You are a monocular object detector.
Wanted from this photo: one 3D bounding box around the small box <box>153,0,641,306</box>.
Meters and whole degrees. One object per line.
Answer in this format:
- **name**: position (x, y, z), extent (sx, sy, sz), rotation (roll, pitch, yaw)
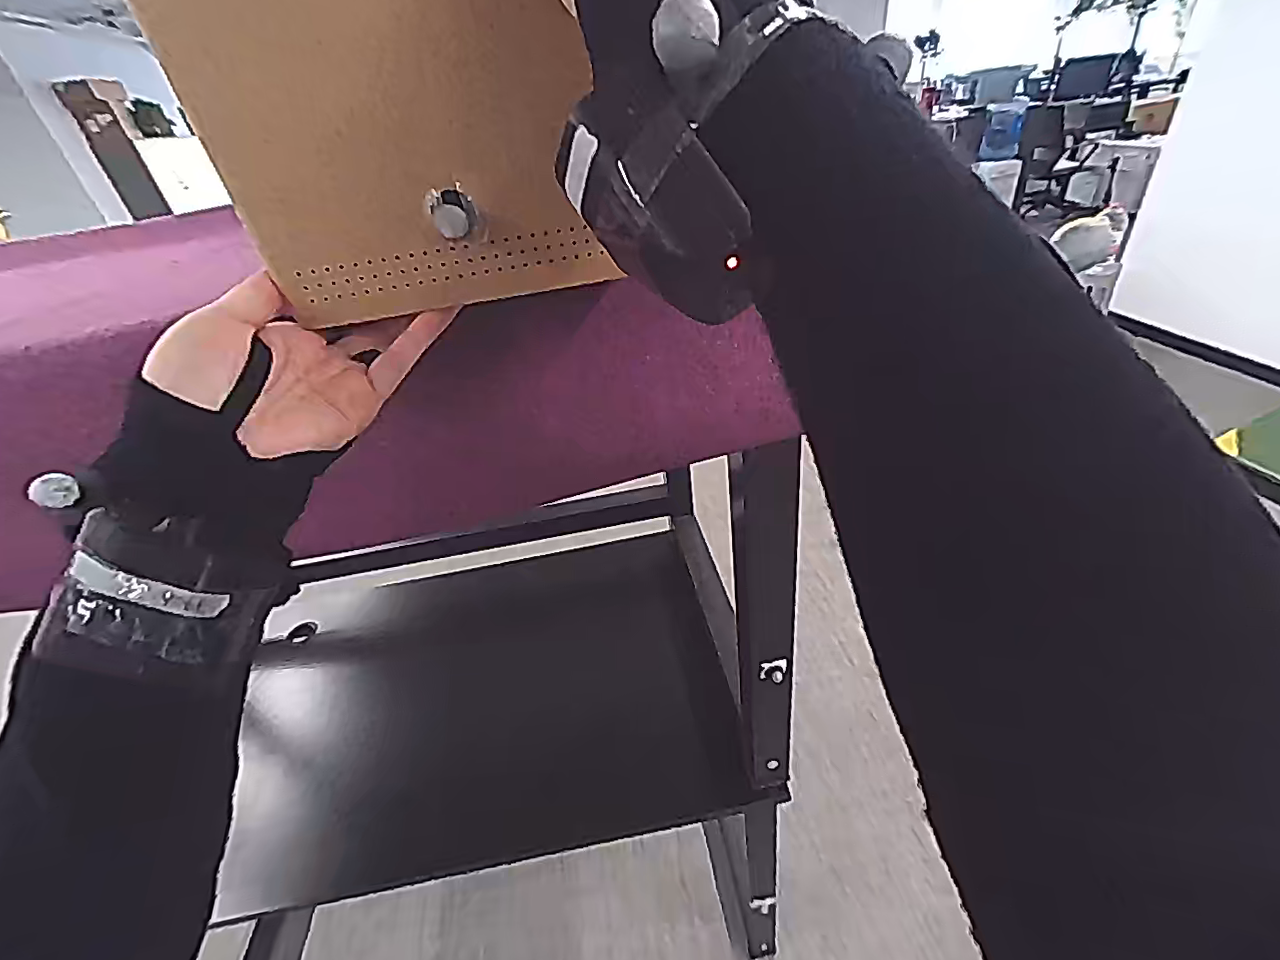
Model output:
- **small box**: position (-0.098, -0.207, 0.278), extent (0.179, 0.176, 0.168), rotation (-11, 39, -6)
